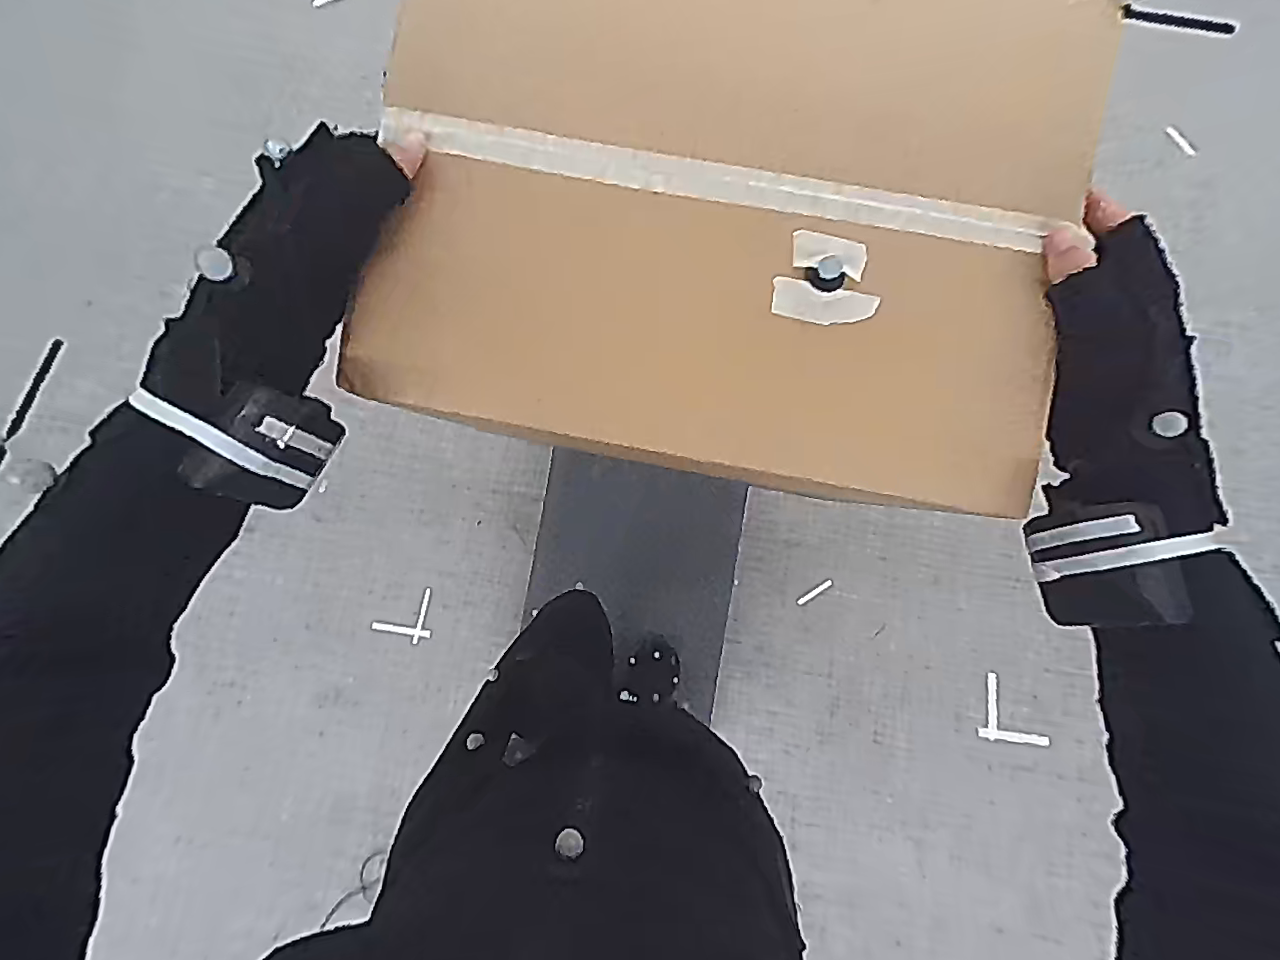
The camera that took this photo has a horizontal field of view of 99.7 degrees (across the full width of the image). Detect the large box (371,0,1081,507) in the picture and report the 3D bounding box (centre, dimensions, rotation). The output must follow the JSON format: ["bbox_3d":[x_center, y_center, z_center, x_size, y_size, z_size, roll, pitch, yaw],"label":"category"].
[{"bbox_3d":[0.053,-0.163,0.483,0.408,0.320,0.320,11,90,1],"label":"large box"}]
